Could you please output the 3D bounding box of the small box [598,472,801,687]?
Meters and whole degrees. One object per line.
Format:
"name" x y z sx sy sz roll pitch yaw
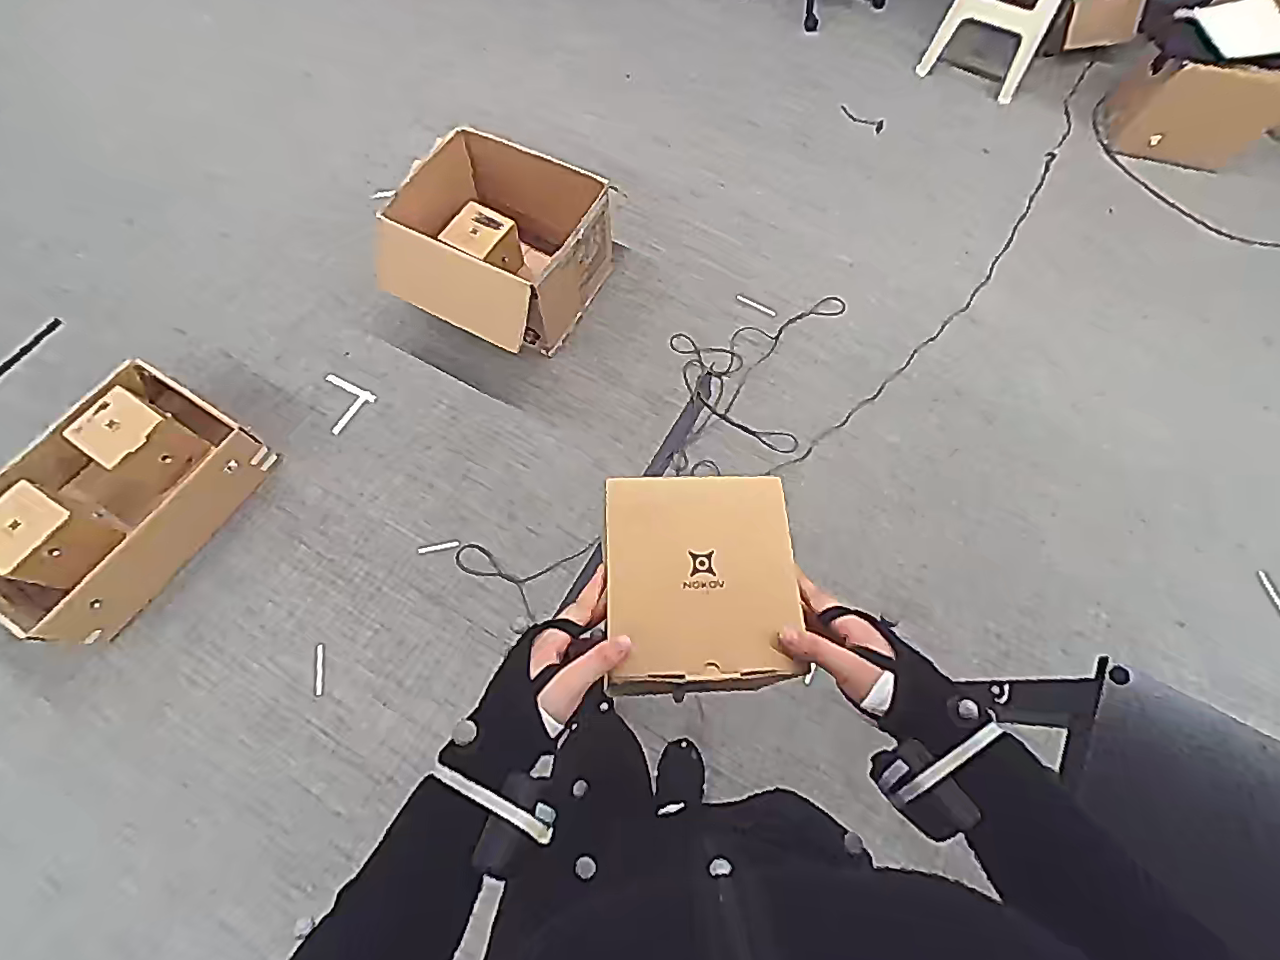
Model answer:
"small box" 0.042 0.106 0.539 0.168 0.176 0.179 -1 66 -4

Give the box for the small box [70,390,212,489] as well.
"small box" -1.287 -0.096 1.411 0.179 0.176 0.168 32 72 9

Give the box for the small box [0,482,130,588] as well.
"small box" -1.425 0.141 1.315 0.168 0.176 0.179 30 69 8
